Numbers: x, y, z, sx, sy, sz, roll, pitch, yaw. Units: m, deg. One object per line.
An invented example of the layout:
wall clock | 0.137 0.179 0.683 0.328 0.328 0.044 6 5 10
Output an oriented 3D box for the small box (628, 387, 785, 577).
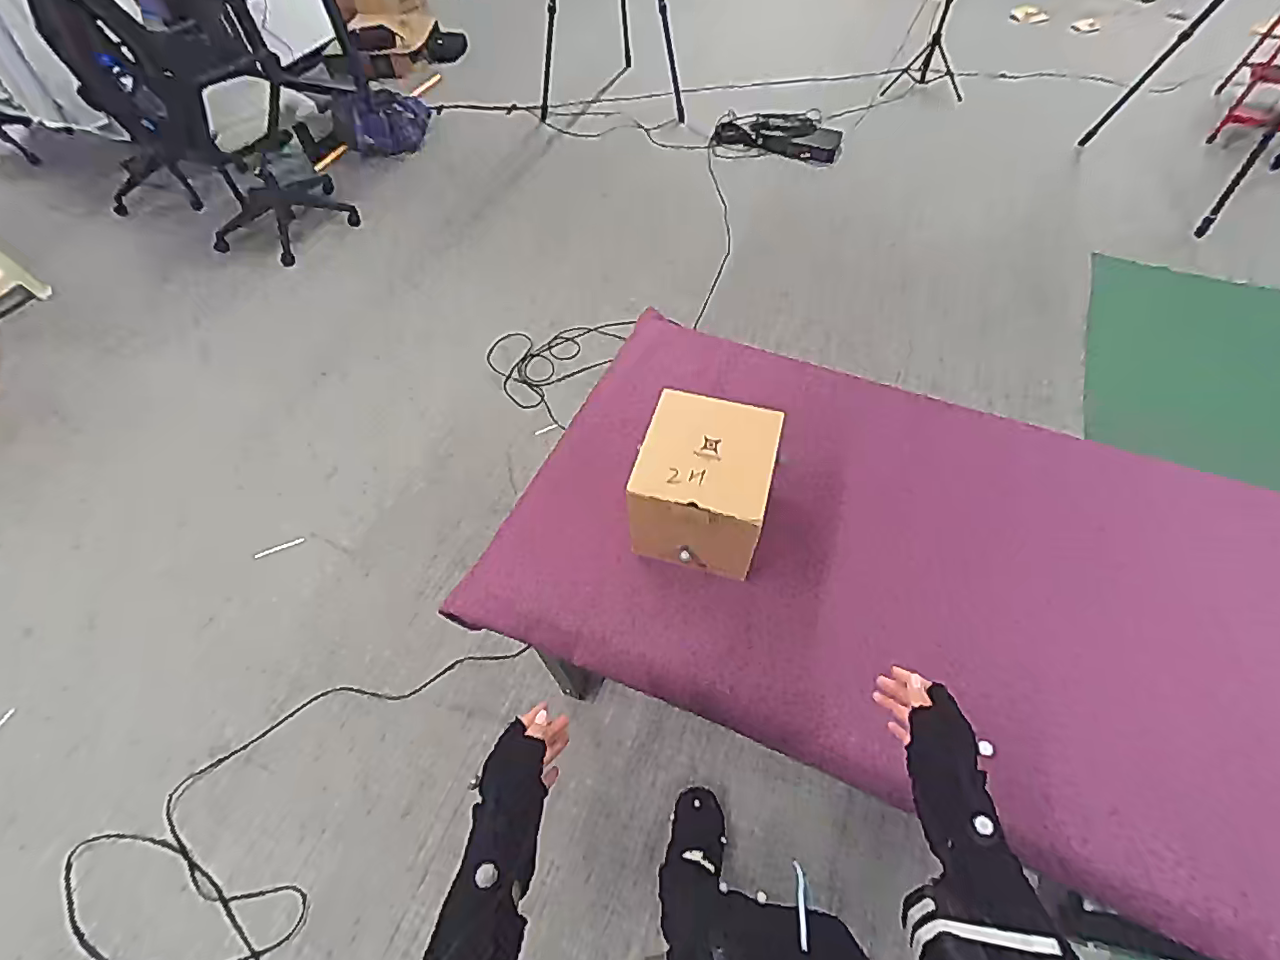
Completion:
small box | 0.089 0.006 0.740 0.168 0.176 0.179 13 58 12
